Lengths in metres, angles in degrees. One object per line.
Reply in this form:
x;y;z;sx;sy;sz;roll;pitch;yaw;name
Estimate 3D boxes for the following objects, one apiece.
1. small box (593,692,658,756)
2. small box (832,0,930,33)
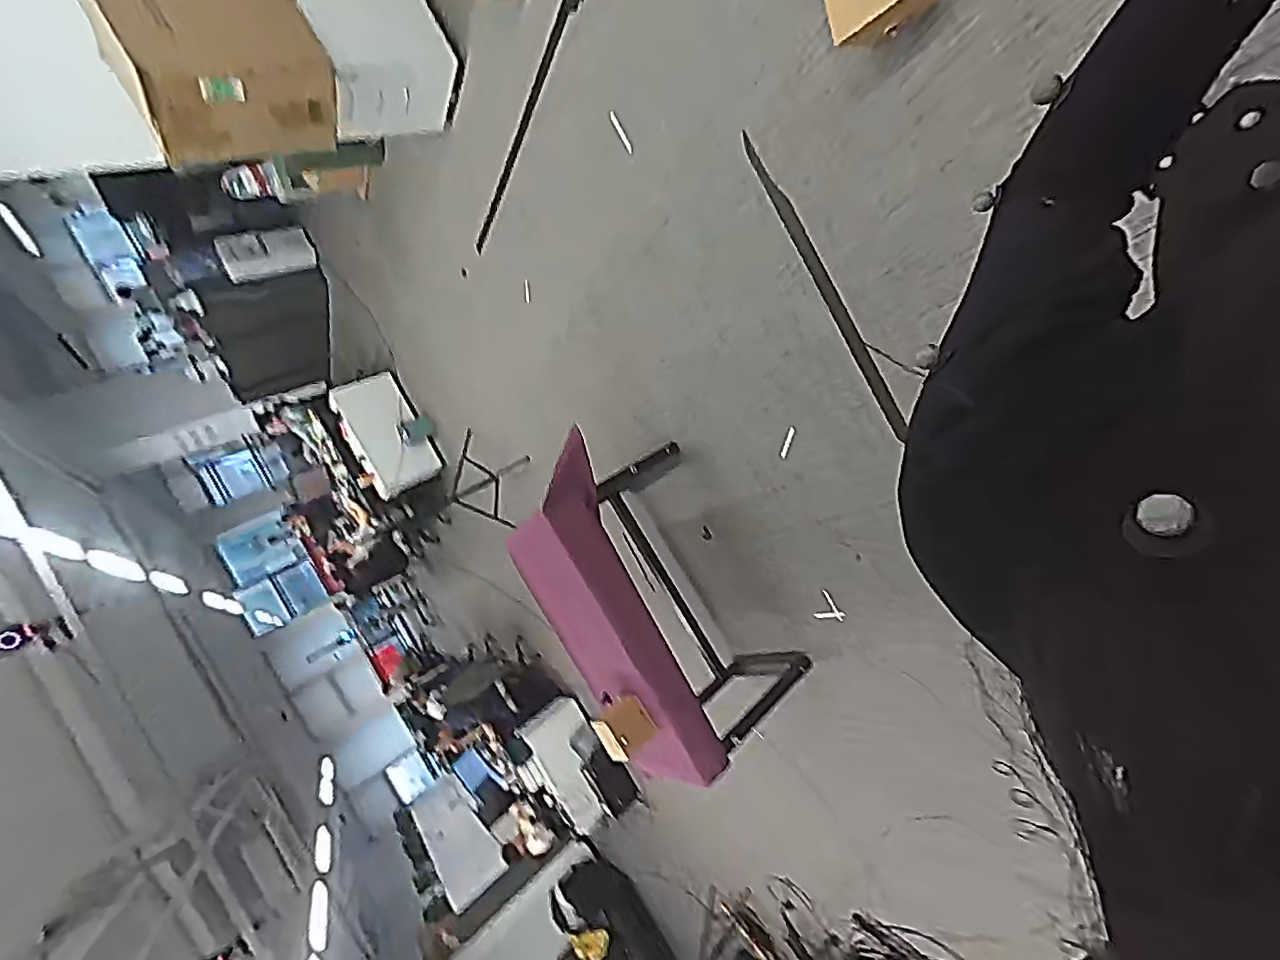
-0.054;0.961;2.142;0.168;0.176;0.179;56;148;7;small box
0.514;-1.079;1.131;0.168;0.176;0.179;1;116;55;small box
